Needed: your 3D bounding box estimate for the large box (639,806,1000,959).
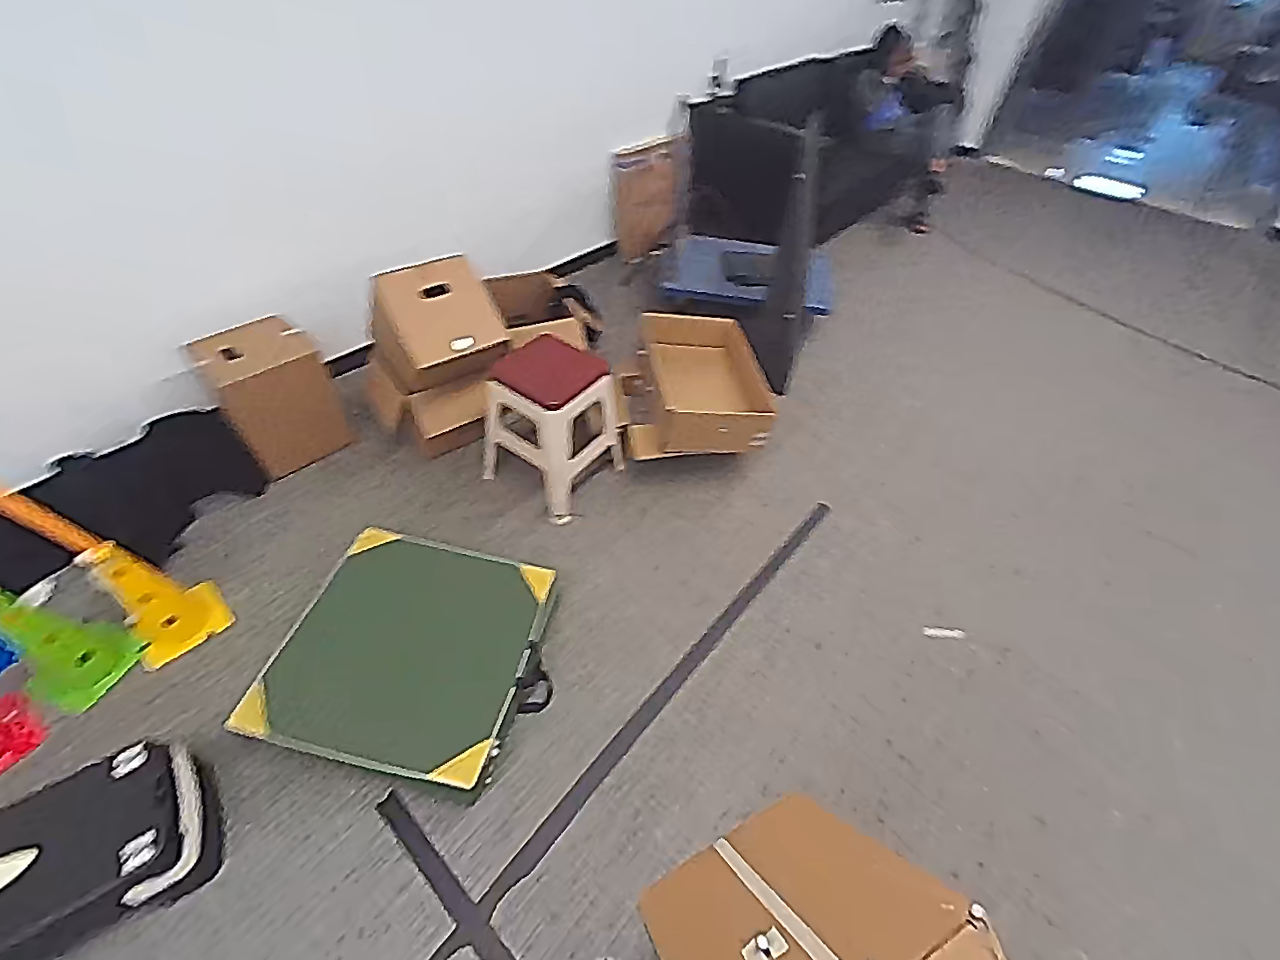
[{"bbox_3d":[0.235,0.697,0.674,0.320,0.408,0.320,-22,82,-17],"label":"large box"}]
